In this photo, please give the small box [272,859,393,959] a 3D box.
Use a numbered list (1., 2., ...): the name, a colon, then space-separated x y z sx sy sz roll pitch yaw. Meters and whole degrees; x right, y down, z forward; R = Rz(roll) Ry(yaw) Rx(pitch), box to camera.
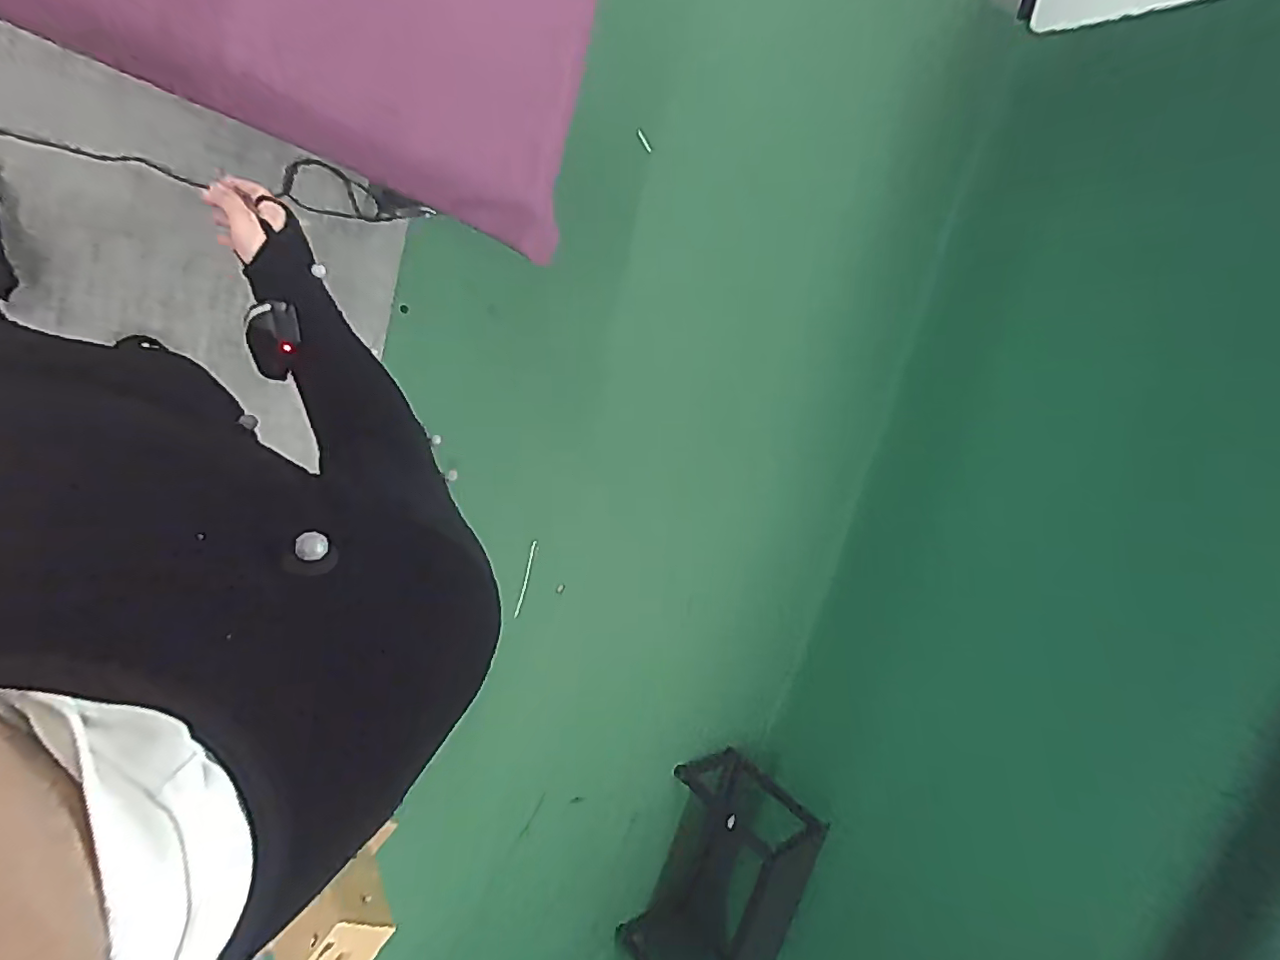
1. small box: -0.744 1.060 1.309 0.168 0.176 0.179 -50 134 -15
